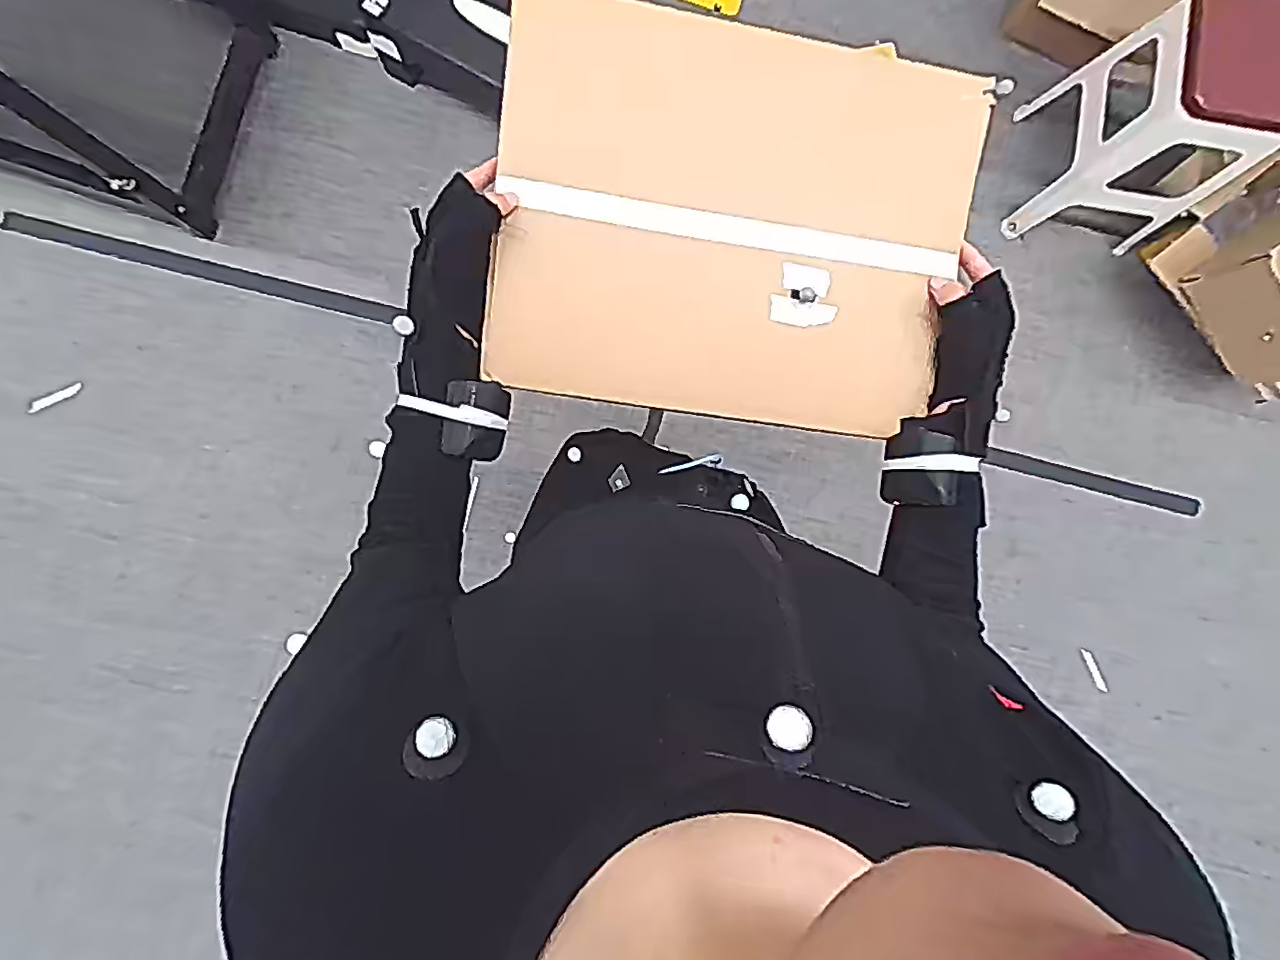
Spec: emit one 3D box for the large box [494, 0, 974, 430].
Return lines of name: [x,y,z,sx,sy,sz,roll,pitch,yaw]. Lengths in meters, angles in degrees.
large box: [0.067,-0.241,0.622,0.408,0.320,0.320,7,100,-7]
